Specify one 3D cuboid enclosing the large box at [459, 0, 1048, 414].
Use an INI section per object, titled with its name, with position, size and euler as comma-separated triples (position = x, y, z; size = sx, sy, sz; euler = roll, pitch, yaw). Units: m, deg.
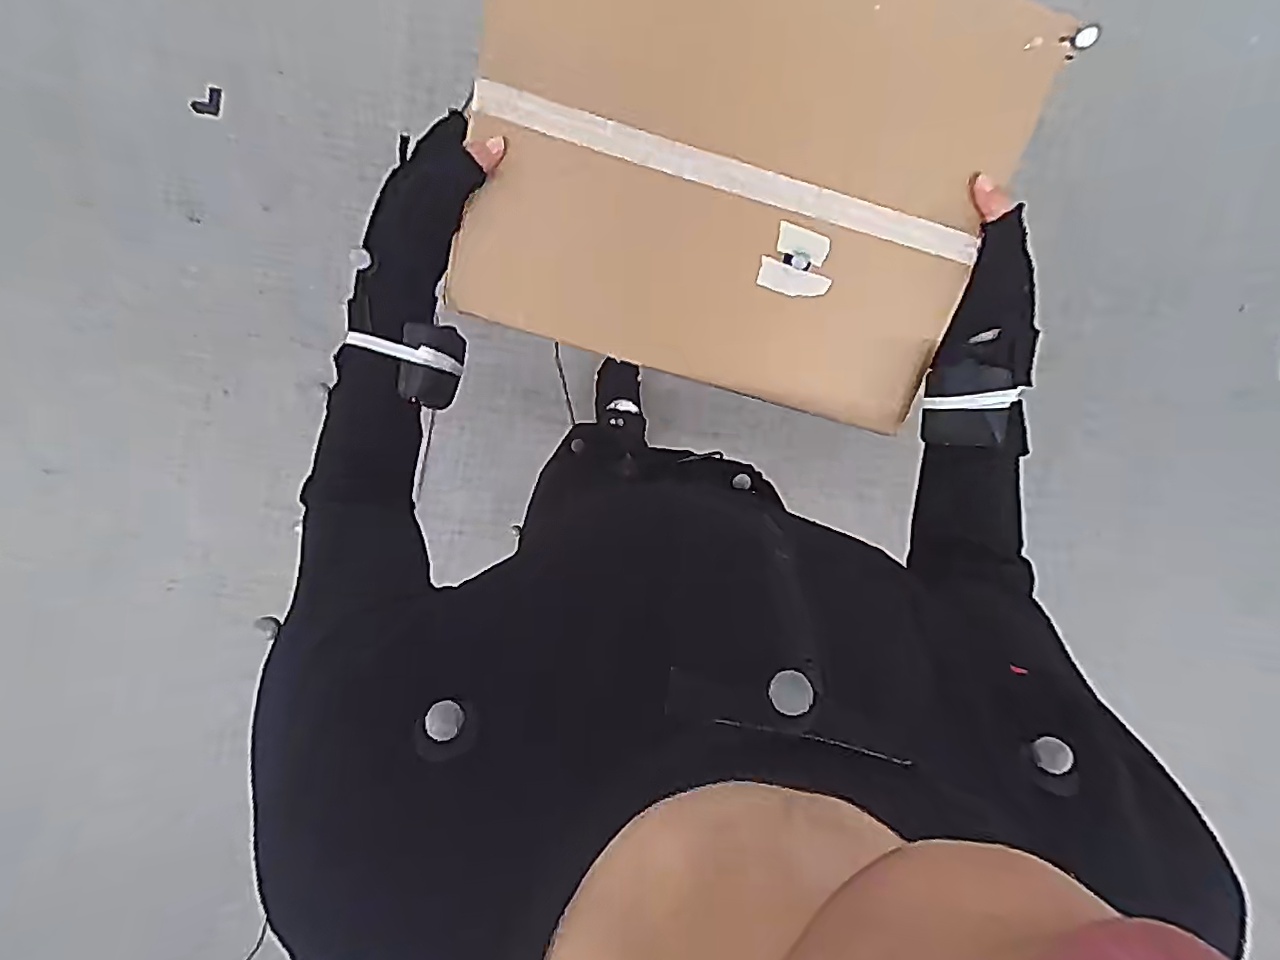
[large box]
position = 0.070, -0.293, 0.567
size = 0.408, 0.320, 0.320
euler = 14, 111, -6
